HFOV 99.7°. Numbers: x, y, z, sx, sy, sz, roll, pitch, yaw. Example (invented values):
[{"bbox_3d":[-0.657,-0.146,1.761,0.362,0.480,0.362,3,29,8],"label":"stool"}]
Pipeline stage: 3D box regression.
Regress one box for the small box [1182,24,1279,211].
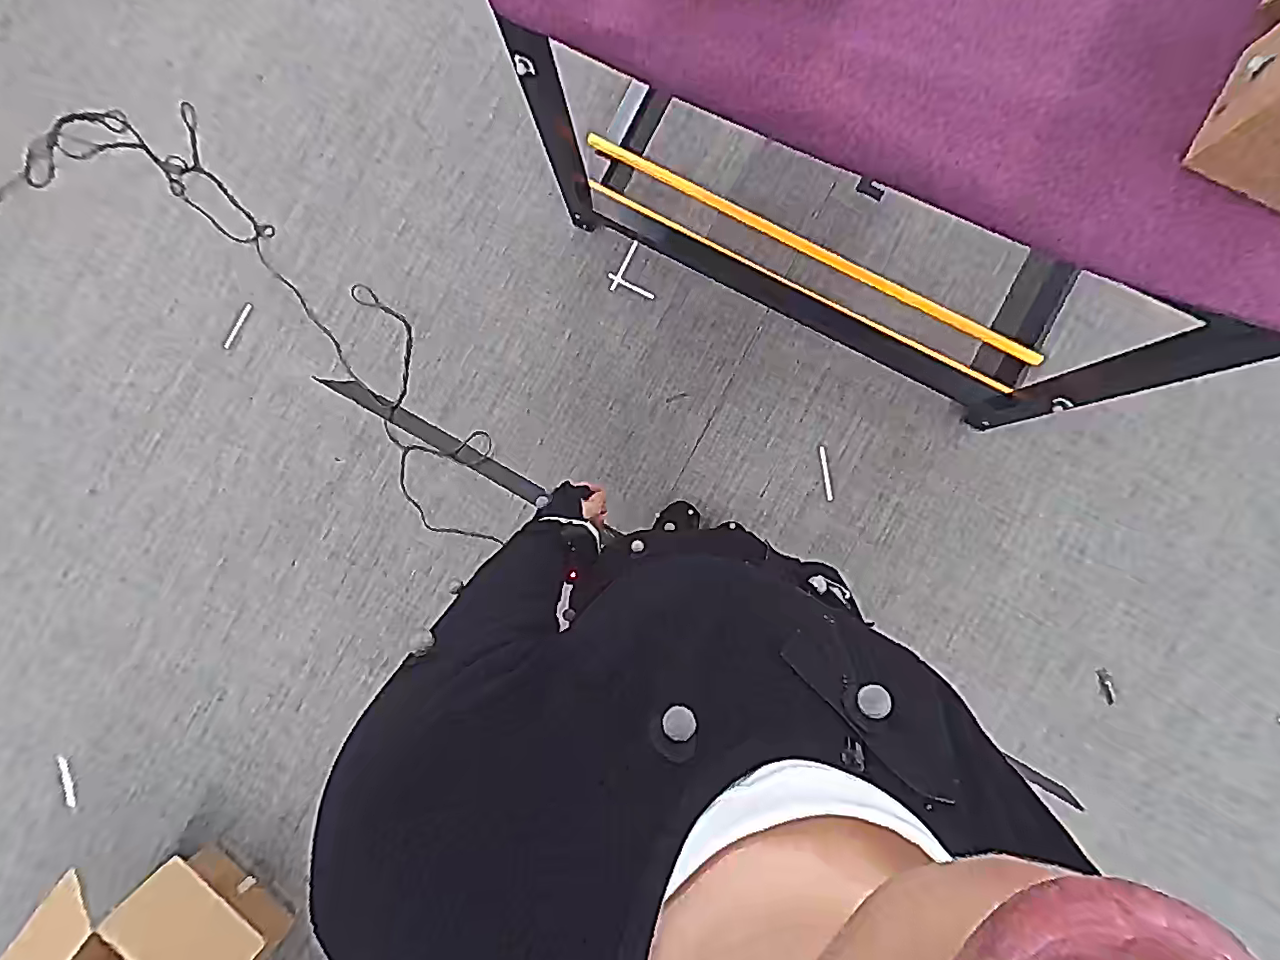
[{"bbox_3d":[0.747,-0.407,0.556,0.179,0.176,0.168,30,88,5],"label":"small box"}]
